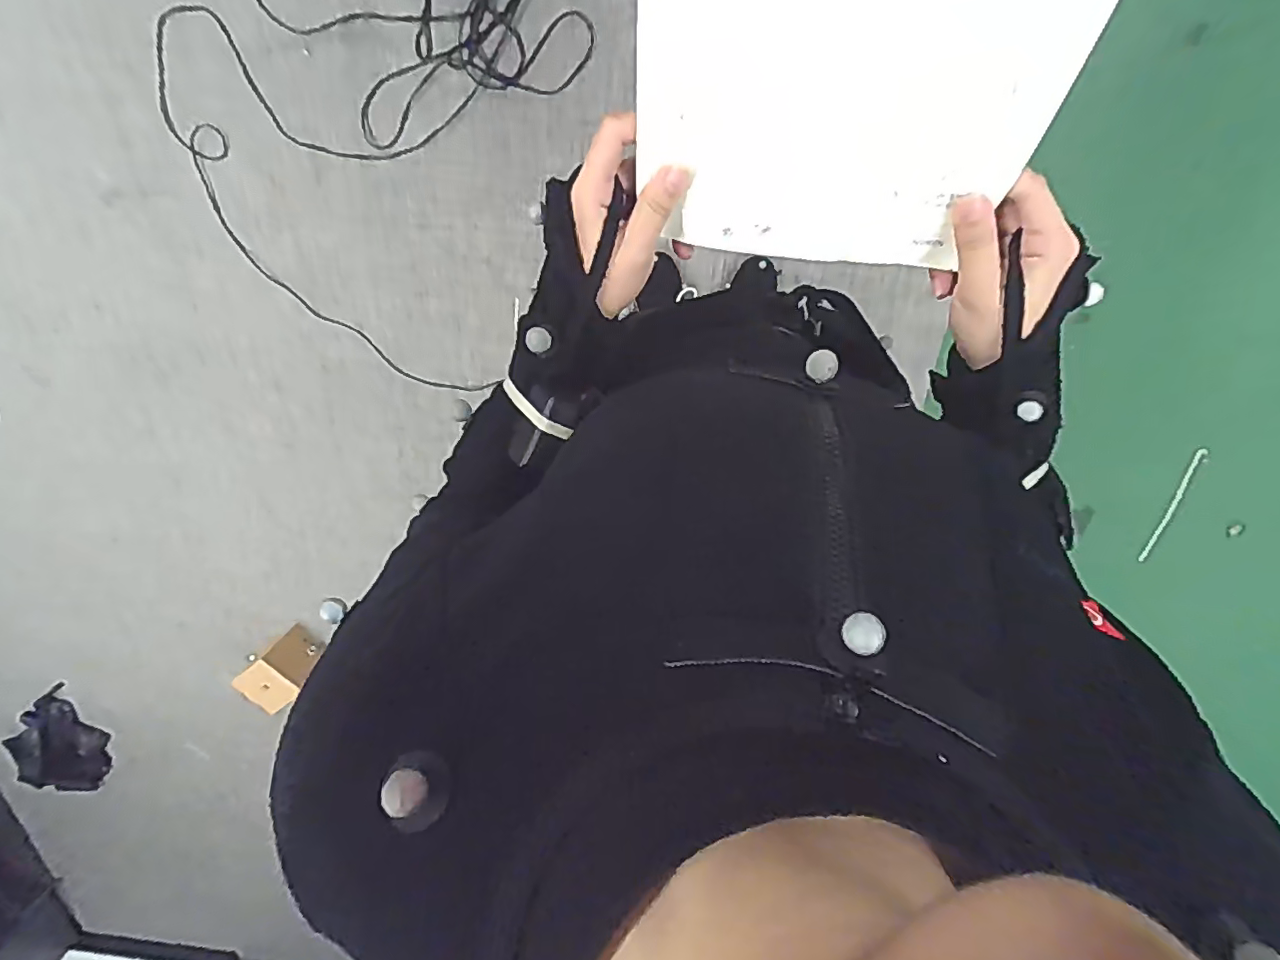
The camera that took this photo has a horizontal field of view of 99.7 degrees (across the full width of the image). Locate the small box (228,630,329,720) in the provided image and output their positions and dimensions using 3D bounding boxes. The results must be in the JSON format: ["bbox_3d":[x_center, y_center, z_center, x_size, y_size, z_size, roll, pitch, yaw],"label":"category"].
[{"bbox_3d":[-1.144,0.617,1.725,0.179,0.176,0.168,-36,107,18],"label":"small box"}]
